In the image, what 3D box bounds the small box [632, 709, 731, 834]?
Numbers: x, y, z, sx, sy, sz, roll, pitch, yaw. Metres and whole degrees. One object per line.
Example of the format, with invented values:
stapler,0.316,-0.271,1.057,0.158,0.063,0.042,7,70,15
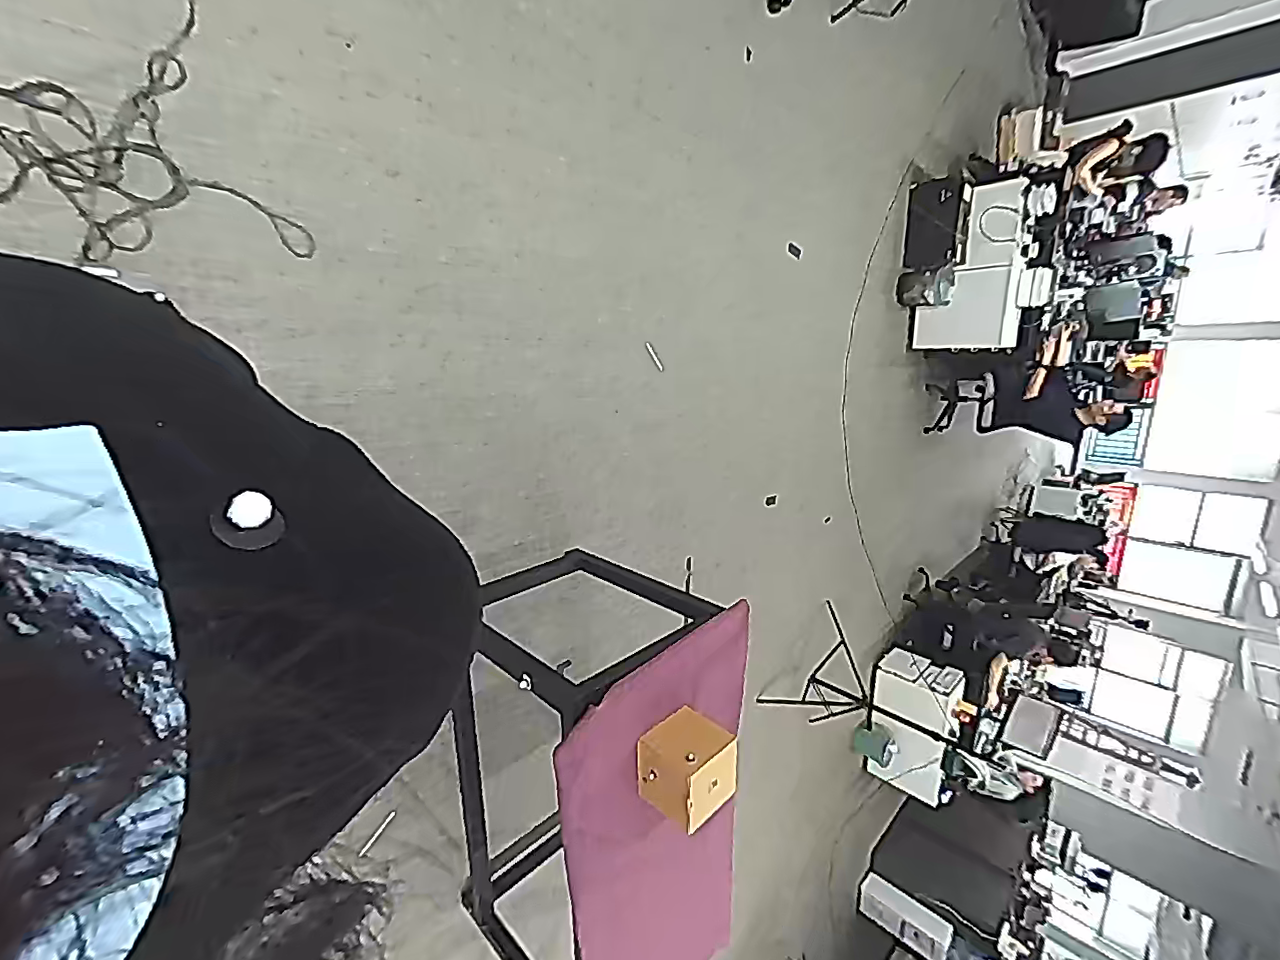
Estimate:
small box,0.100,0.694,1.314,0.179,0.176,0.168,-15,111,-42
